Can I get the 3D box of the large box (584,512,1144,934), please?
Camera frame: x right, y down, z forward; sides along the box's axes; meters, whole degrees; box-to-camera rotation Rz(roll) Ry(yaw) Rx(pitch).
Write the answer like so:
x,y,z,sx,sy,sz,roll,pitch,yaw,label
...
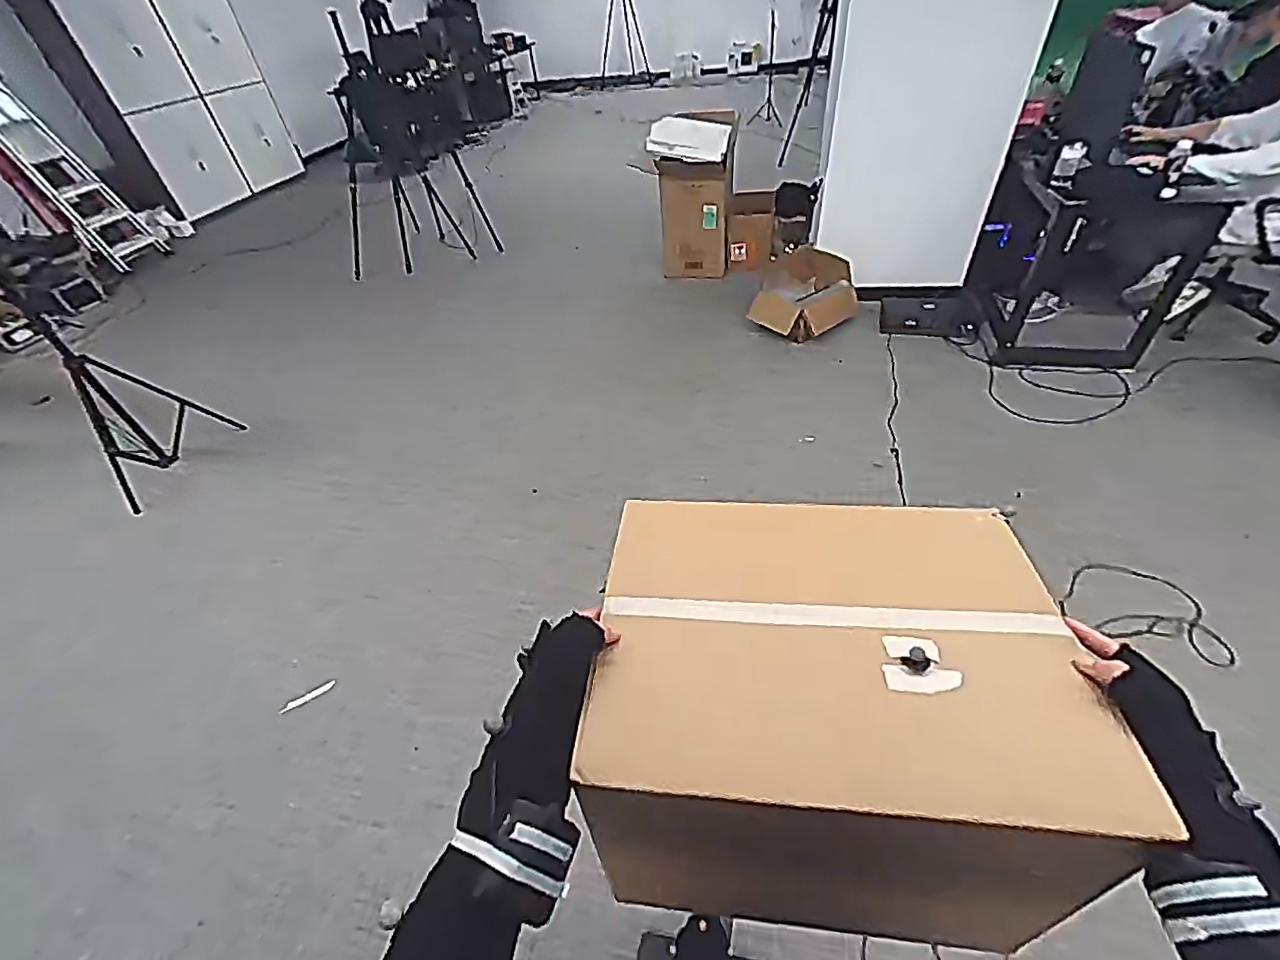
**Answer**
x,y,z,sx,sy,sz,roll,pitch,yaw,label
0.175,0.251,0.598,0.408,0.320,0.320,1,39,8,large box
